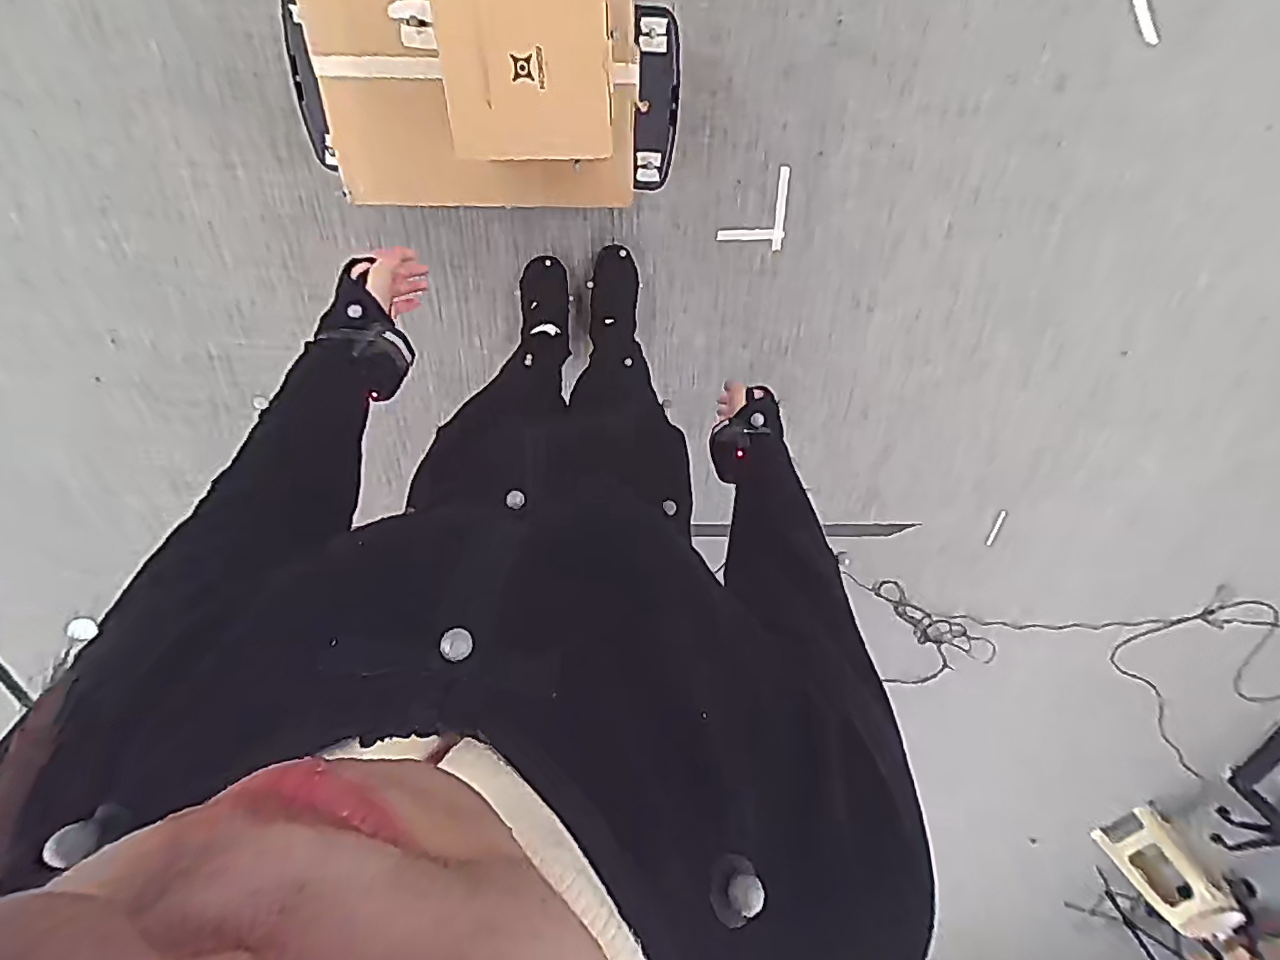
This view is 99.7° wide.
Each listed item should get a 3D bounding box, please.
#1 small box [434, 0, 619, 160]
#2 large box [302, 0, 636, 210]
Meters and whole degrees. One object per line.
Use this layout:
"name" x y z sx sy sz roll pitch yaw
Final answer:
"small box" -0.116 -0.463 0.614 0.179 0.176 0.168 -2 122 -3
"large box" -0.212 -0.596 0.813 0.408 0.320 0.320 -1 121 -3
